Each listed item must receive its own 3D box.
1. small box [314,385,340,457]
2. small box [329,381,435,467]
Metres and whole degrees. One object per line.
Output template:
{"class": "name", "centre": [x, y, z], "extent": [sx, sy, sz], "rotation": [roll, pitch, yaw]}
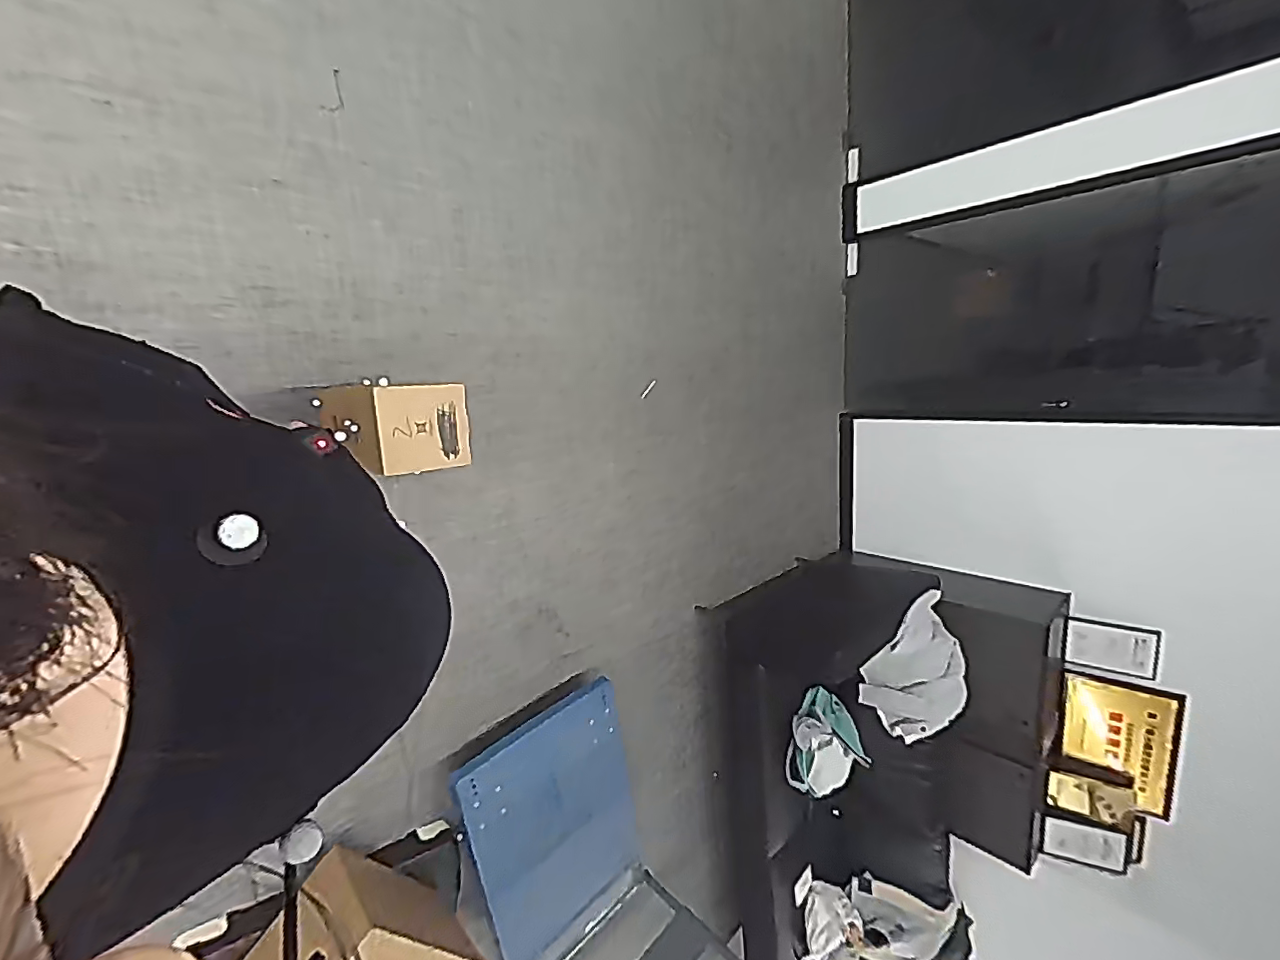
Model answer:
{"class": "small box", "centre": [-0.690, -0.152, 1.340], "extent": [0.179, 0.176, 0.168], "rotation": [-12, 105, -42]}
{"class": "small box", "centre": [-0.582, -0.130, 1.218], "extent": [0.168, 0.176, 0.179], "rotation": [-11, 105, -41]}
